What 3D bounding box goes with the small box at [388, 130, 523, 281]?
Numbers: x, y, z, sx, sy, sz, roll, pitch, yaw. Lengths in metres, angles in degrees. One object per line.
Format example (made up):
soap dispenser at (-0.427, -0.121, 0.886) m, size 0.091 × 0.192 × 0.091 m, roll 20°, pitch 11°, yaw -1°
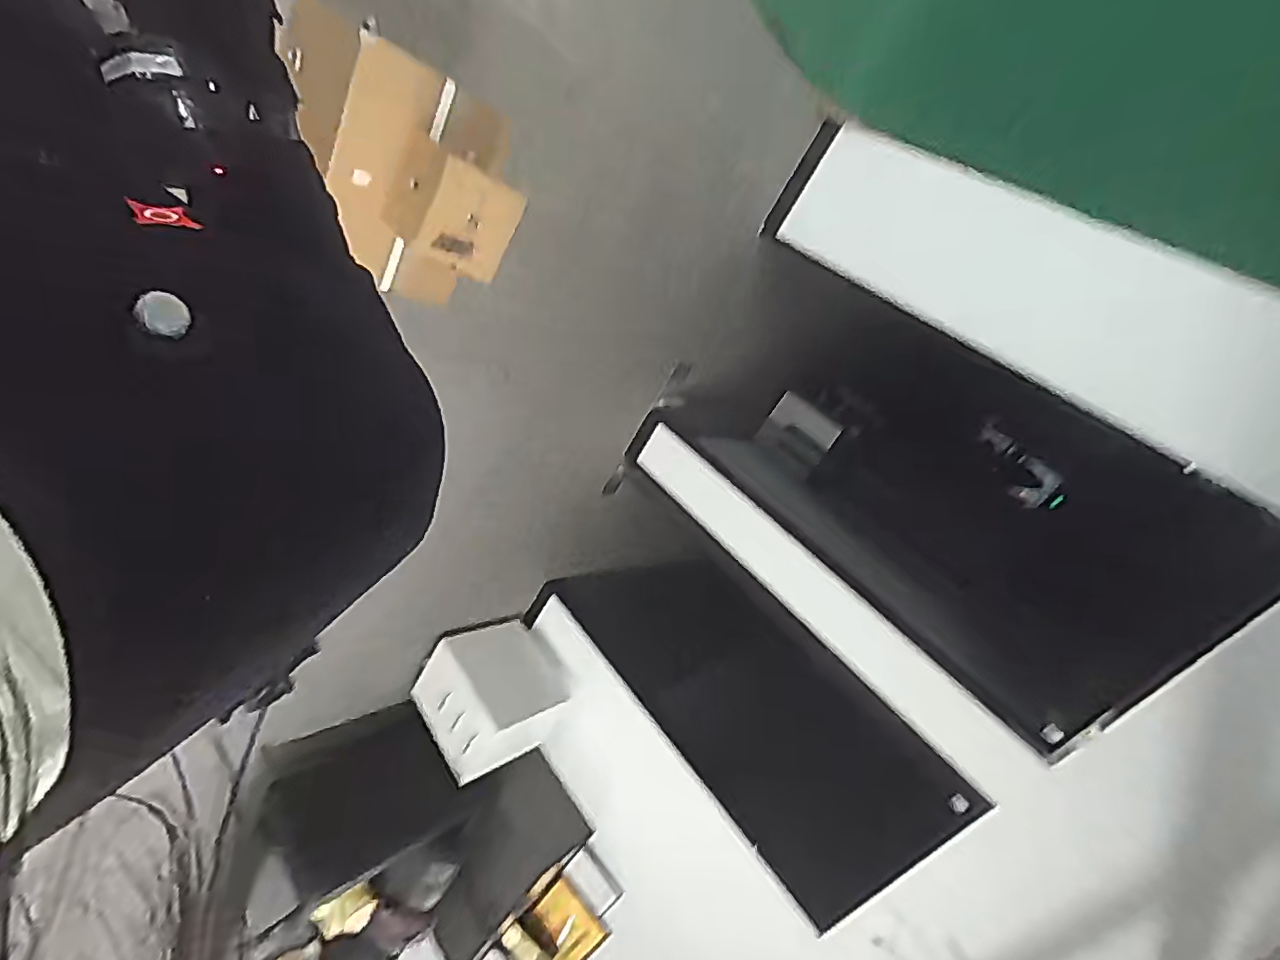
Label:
small box at (-0.356, -0.517, 1.026) m, size 0.168 × 0.176 × 0.179 m, roll 4°, pitch 126°, yaw -49°
